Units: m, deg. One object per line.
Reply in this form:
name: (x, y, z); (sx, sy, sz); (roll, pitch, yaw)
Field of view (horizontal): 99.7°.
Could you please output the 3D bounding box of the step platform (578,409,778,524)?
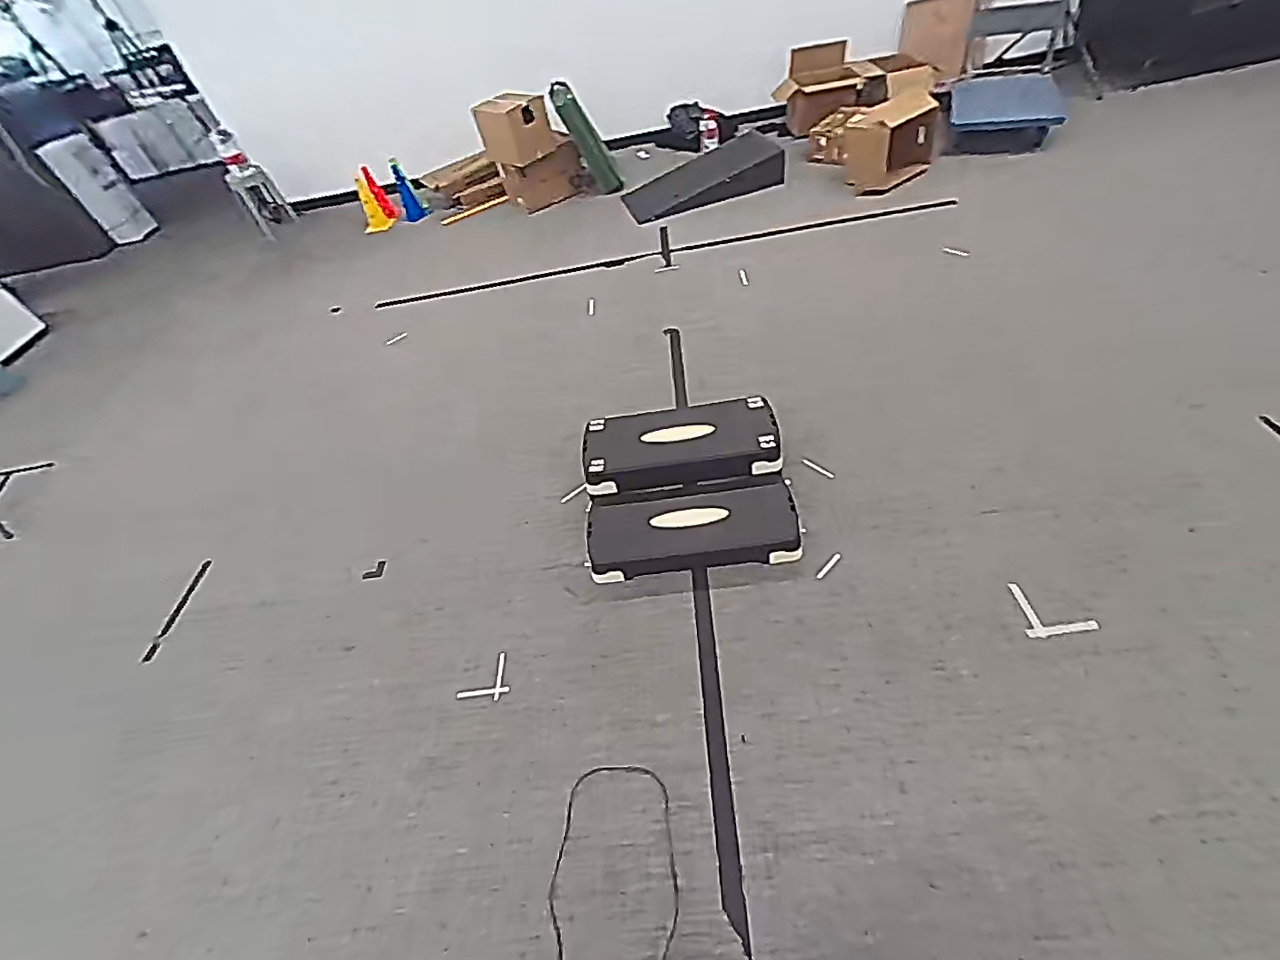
step platform: (0.126, -0.052, 1.889); (0.684, 0.204, 0.286); (-8, 48, 4)
